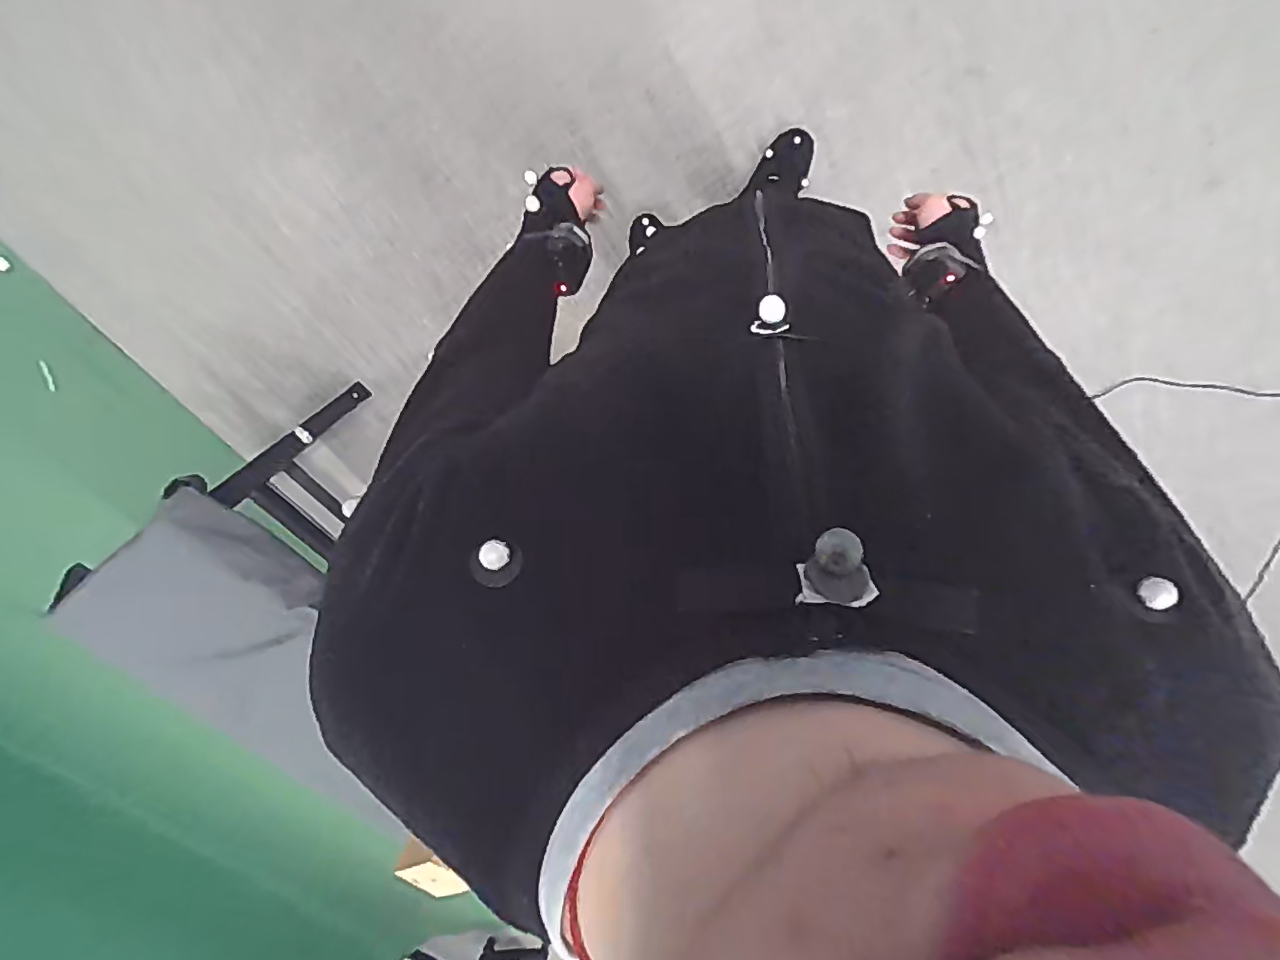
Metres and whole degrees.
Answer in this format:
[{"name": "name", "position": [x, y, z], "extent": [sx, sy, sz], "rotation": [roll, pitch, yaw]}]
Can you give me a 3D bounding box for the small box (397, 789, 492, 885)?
[{"name": "small box", "position": [-0.553, 1.027, 1.561], "extent": [0.179, 0.176, 0.168], "rotation": [-32, 113, 25]}]
